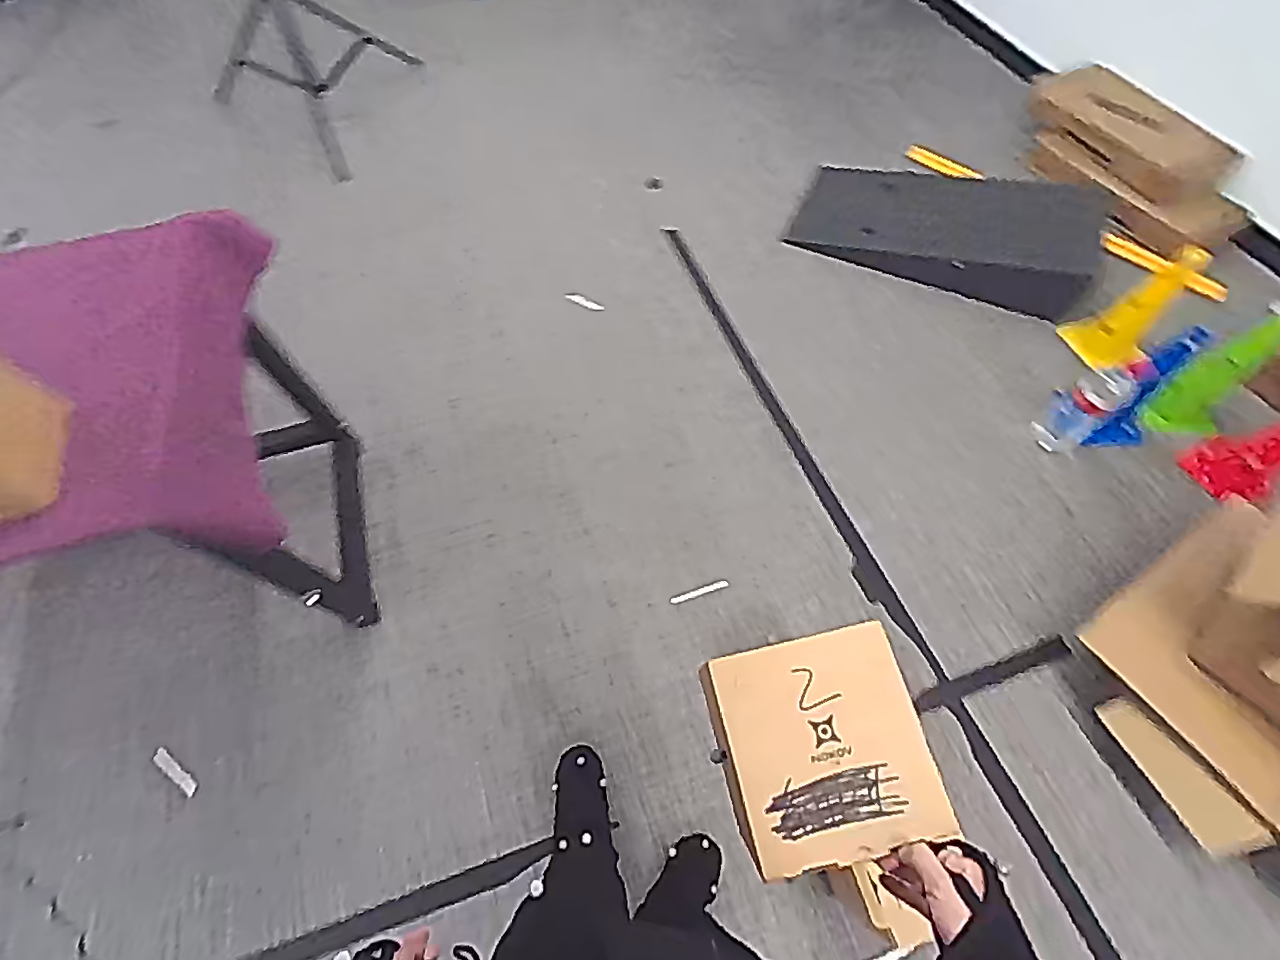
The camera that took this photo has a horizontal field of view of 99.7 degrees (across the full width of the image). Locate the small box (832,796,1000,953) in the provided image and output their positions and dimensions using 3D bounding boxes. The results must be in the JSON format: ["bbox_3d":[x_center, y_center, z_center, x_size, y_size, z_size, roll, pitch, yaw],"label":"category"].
[{"bbox_3d":[0.449,0.656,0.921,0.179,0.176,0.168,-14,63,-7],"label":"small box"}]

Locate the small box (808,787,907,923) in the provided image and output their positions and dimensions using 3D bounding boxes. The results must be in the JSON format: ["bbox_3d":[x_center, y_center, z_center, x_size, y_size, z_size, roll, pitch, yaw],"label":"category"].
[{"bbox_3d":[0.456,0.728,1.070,0.168,0.176,0.179,-13,64,-6],"label":"small box"}]
